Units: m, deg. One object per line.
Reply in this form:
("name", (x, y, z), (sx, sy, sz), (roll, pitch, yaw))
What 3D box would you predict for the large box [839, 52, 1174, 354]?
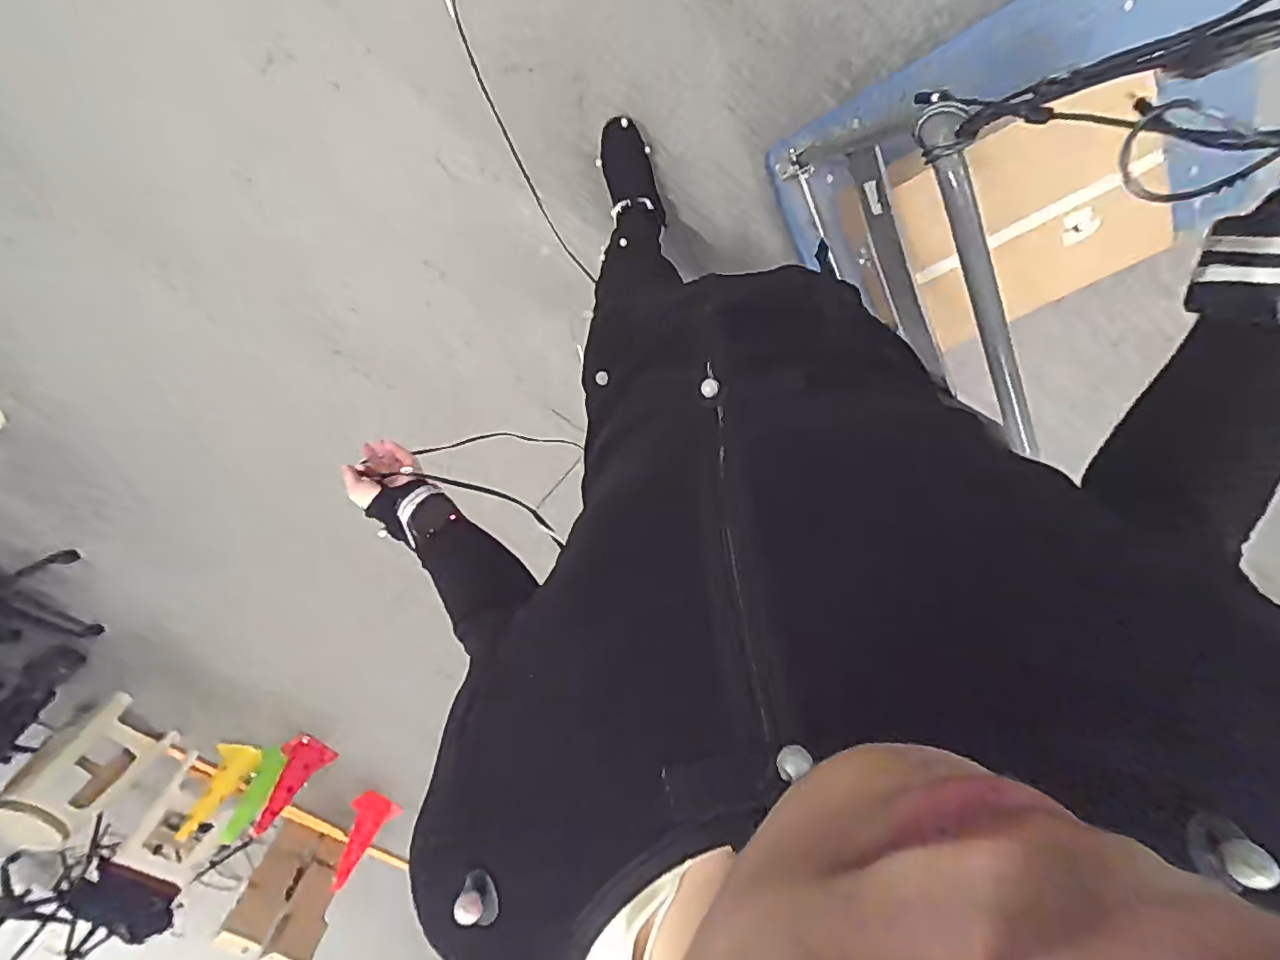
("large box", (0.666, -0.501, 1.042), (0.408, 0.320, 0.320), (-25, 113, 14))
